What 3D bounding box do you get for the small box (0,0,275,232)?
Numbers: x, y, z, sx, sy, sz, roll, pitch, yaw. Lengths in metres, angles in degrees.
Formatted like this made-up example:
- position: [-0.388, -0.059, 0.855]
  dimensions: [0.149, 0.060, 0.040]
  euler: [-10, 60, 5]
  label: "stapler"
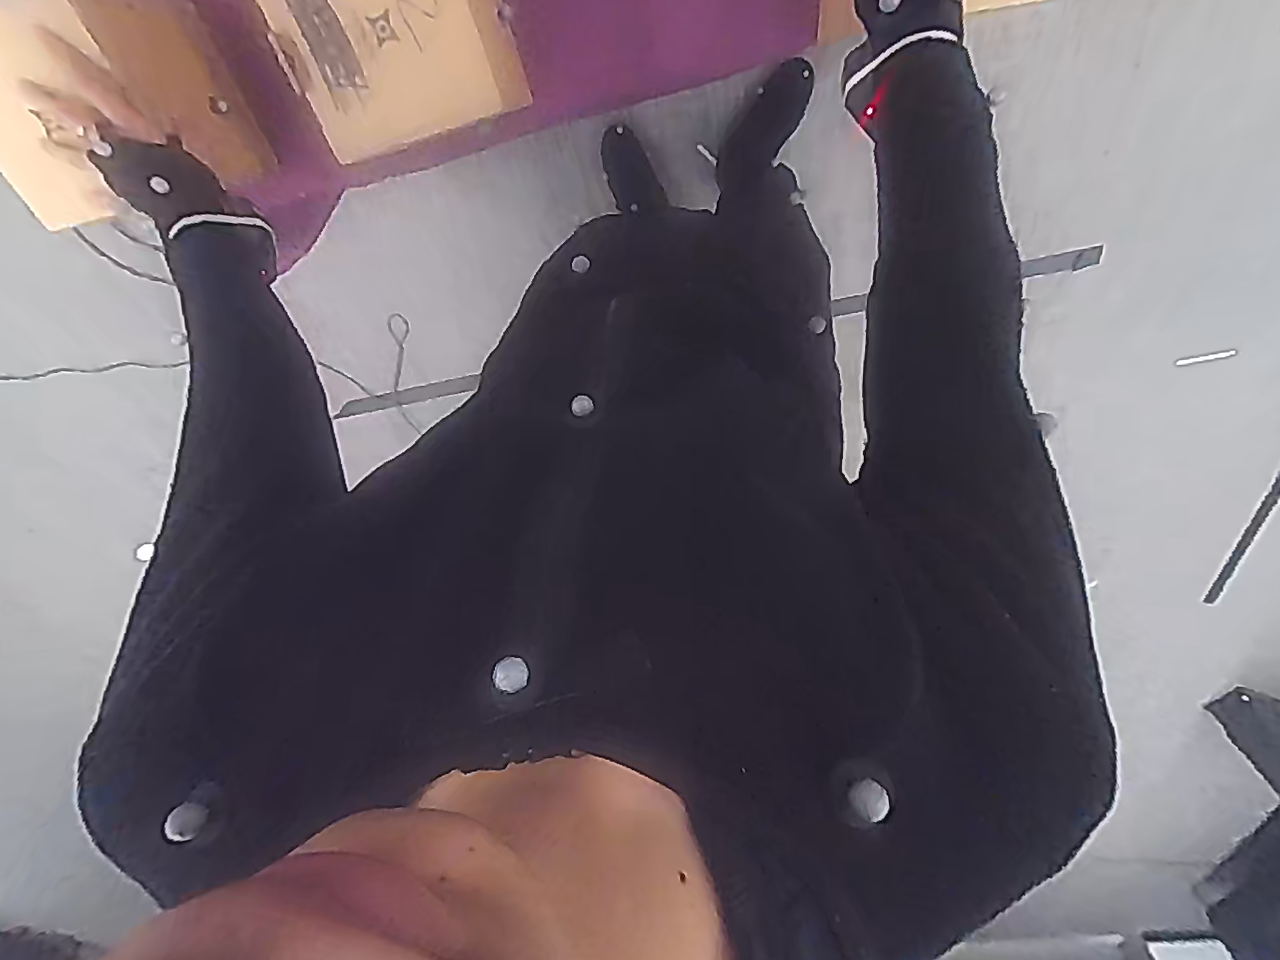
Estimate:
- position: [-0.546, -0.383, 0.572]
  dimensions: [0.179, 0.176, 0.168]
  euler: [-11, 126, 8]
  label: "small box"
